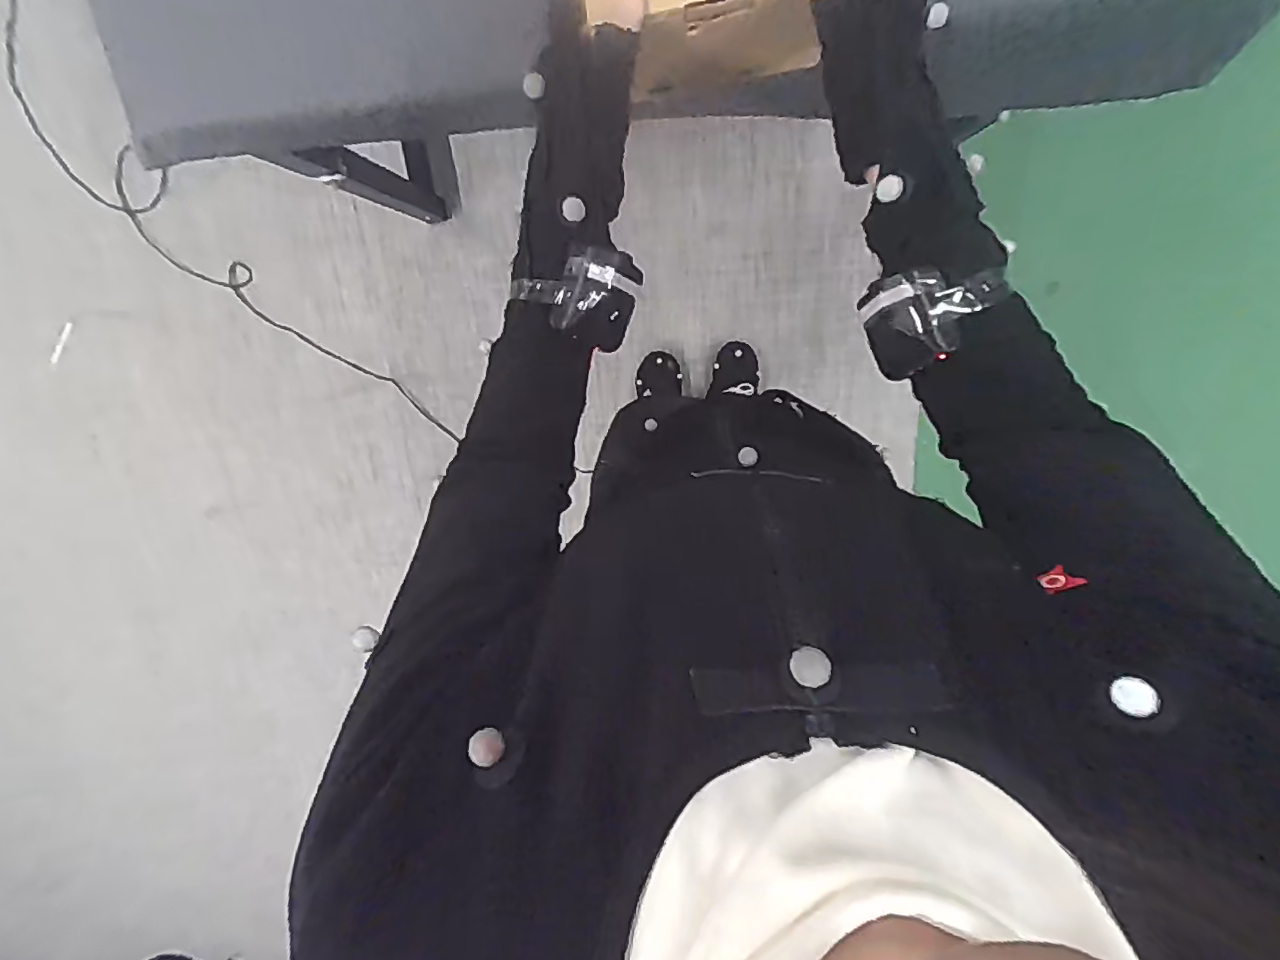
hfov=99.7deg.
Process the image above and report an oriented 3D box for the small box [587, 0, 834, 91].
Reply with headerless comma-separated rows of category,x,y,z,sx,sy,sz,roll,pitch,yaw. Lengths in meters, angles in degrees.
small box,0.051,-0.401,0.378,0.168,0.176,0.179,-3,110,9
